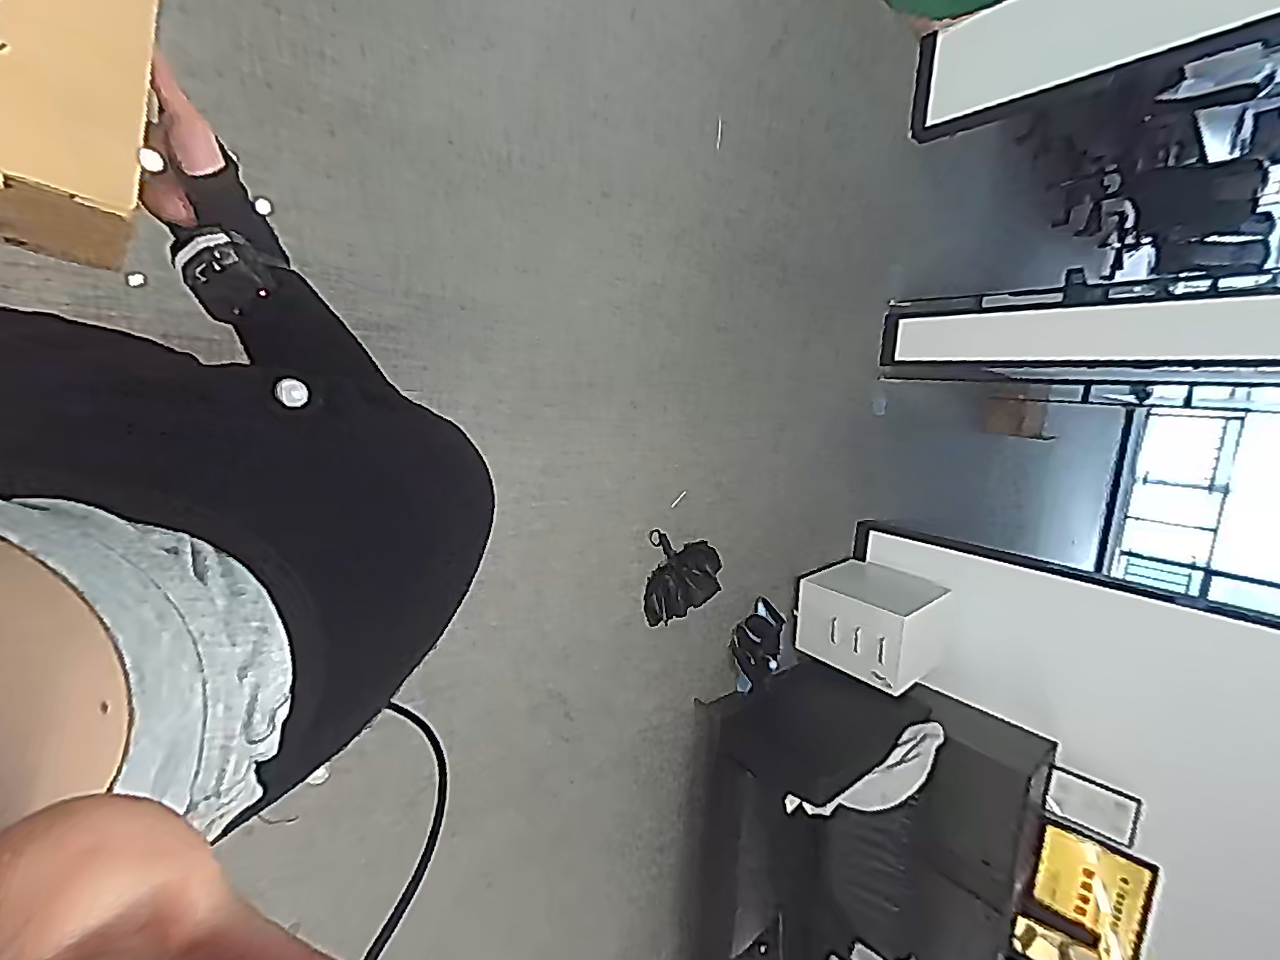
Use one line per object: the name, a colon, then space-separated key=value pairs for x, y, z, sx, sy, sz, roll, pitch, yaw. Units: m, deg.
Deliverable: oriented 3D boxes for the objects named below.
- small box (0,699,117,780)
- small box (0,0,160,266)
small box: x=-1.221 y=0.581 z=1.098 sx=0.179 sy=0.176 sz=0.168 roll=-53 pitch=127 yaw=-18
small box: x=-0.454 y=-0.270 z=0.371 sx=0.168 sy=0.176 sz=0.179 roll=5 pitch=89 yaw=-47
